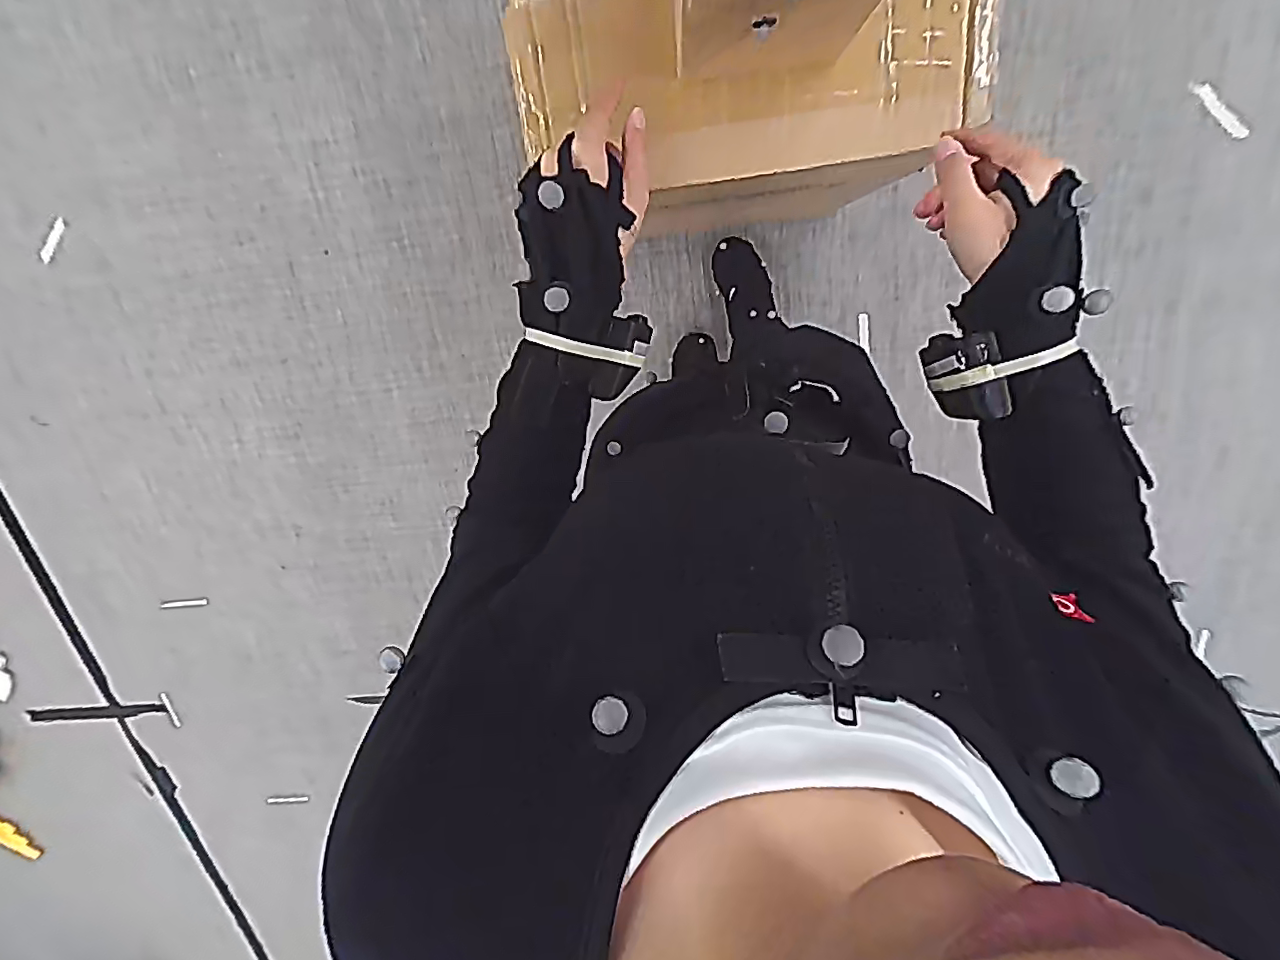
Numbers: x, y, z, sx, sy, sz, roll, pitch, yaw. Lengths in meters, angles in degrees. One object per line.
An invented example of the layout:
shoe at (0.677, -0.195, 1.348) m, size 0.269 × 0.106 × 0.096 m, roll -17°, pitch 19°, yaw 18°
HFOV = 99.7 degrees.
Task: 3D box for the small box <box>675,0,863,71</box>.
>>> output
small box at (0.117, -0.504, 0.491) m, size 0.179 × 0.176 × 0.168 m, roll -4°, pitch 109°, yaw 4°
